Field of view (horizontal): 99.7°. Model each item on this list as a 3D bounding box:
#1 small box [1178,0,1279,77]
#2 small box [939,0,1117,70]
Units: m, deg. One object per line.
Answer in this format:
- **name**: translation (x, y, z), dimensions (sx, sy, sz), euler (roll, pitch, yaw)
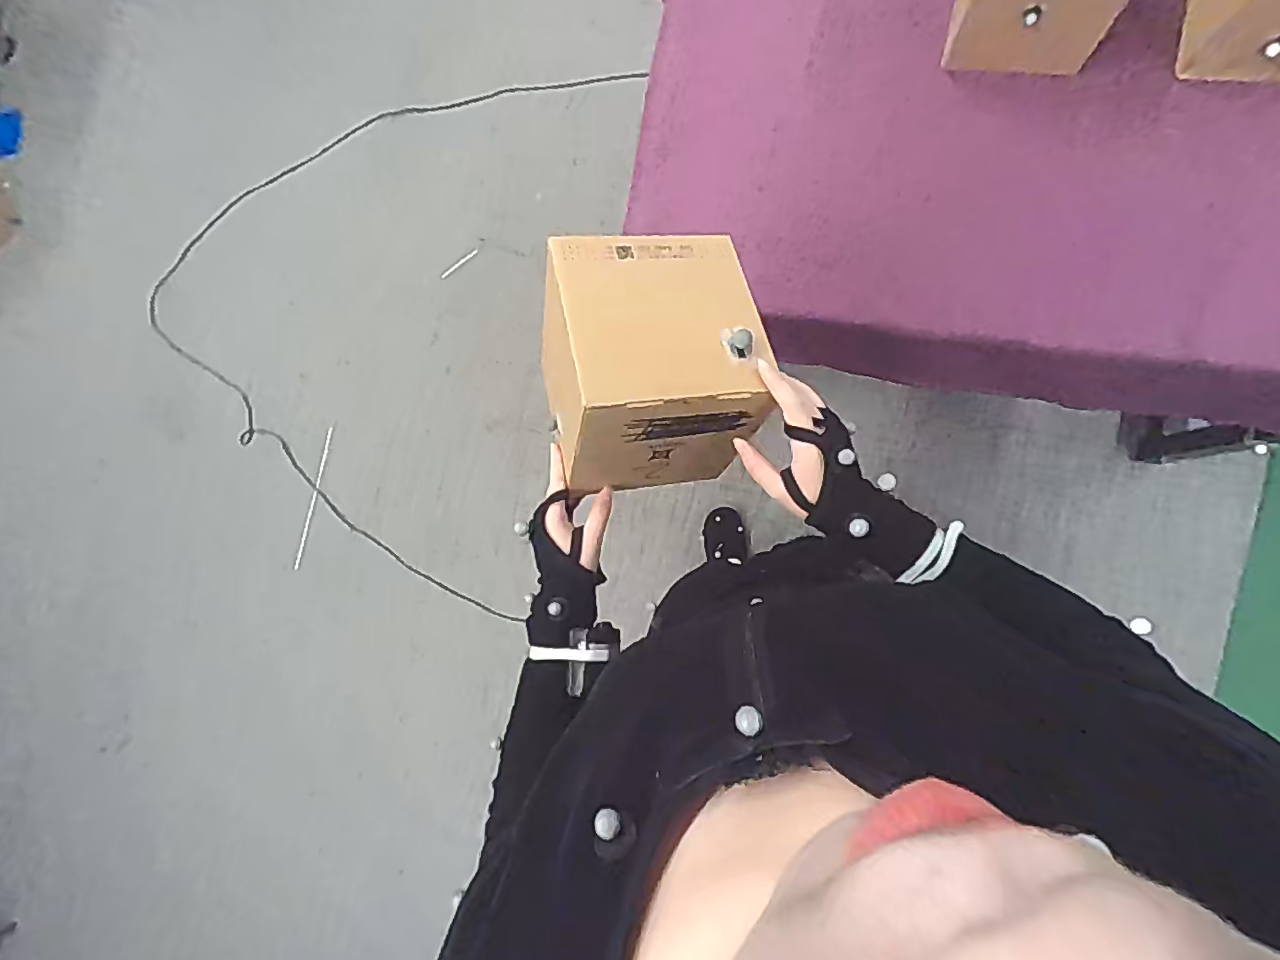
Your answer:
- **small box**: translation (0.781, -0.612, 0.621), dimensions (0.168, 0.176, 0.179), euler (11, 89, 13)
- **small box**: translation (0.510, -0.660, 0.683), dimensions (0.179, 0.176, 0.168), euler (13, 88, 14)
